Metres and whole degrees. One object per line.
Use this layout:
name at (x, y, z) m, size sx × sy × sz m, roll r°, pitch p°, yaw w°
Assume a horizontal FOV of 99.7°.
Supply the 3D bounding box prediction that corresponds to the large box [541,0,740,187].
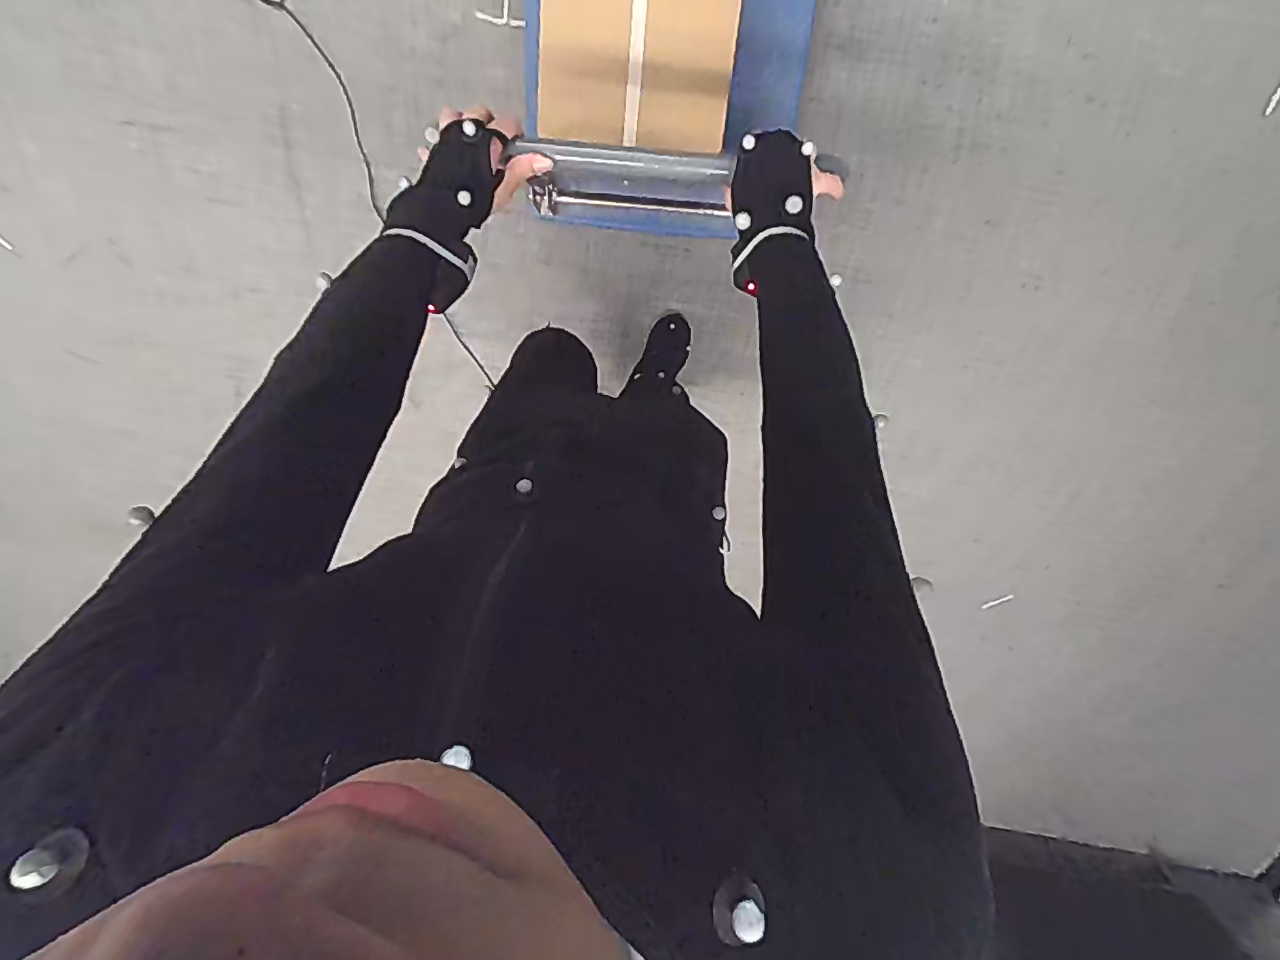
large box at (0.010, -0.788, 0.987) m, size 0.320 × 0.320 × 0.408 m, roll 6°, pitch 112°, yaw 1°
